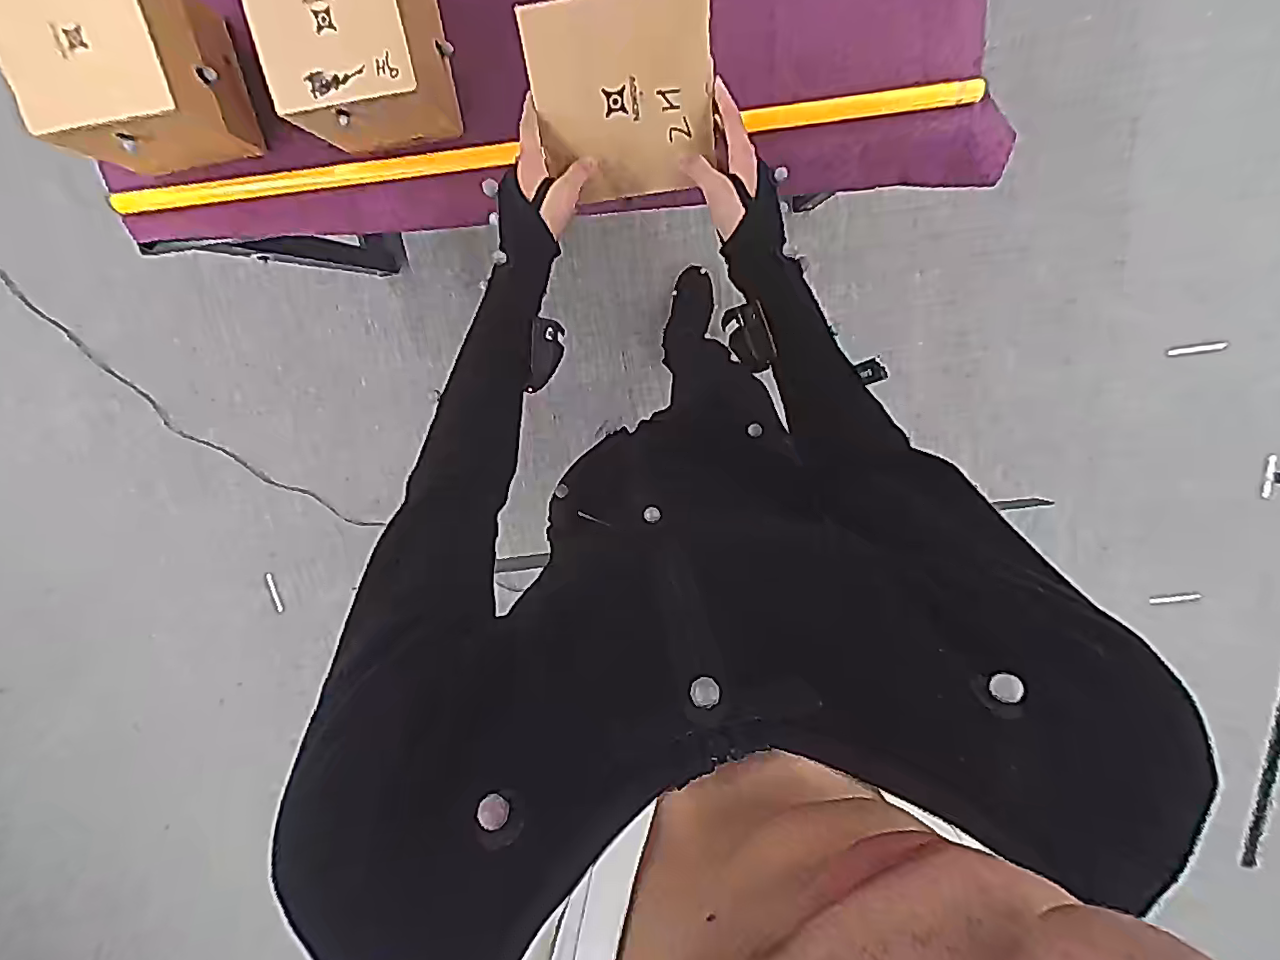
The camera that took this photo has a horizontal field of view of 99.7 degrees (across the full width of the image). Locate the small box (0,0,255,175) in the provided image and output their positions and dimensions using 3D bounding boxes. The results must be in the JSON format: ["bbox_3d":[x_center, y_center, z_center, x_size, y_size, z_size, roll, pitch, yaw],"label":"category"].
[{"bbox_3d":[-0.618,-0.494,0.660,0.179,0.176,0.168,-9,106,3],"label":"small box"}]

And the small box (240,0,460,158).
[{"bbox_3d":[-0.338,-0.518,0.649,0.168,0.176,0.179,-7,106,4],"label":"small box"}]

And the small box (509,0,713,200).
[{"bbox_3d":[-0.020,-0.408,0.578,0.179,0.176,0.168,-6,123,4],"label":"small box"}]
